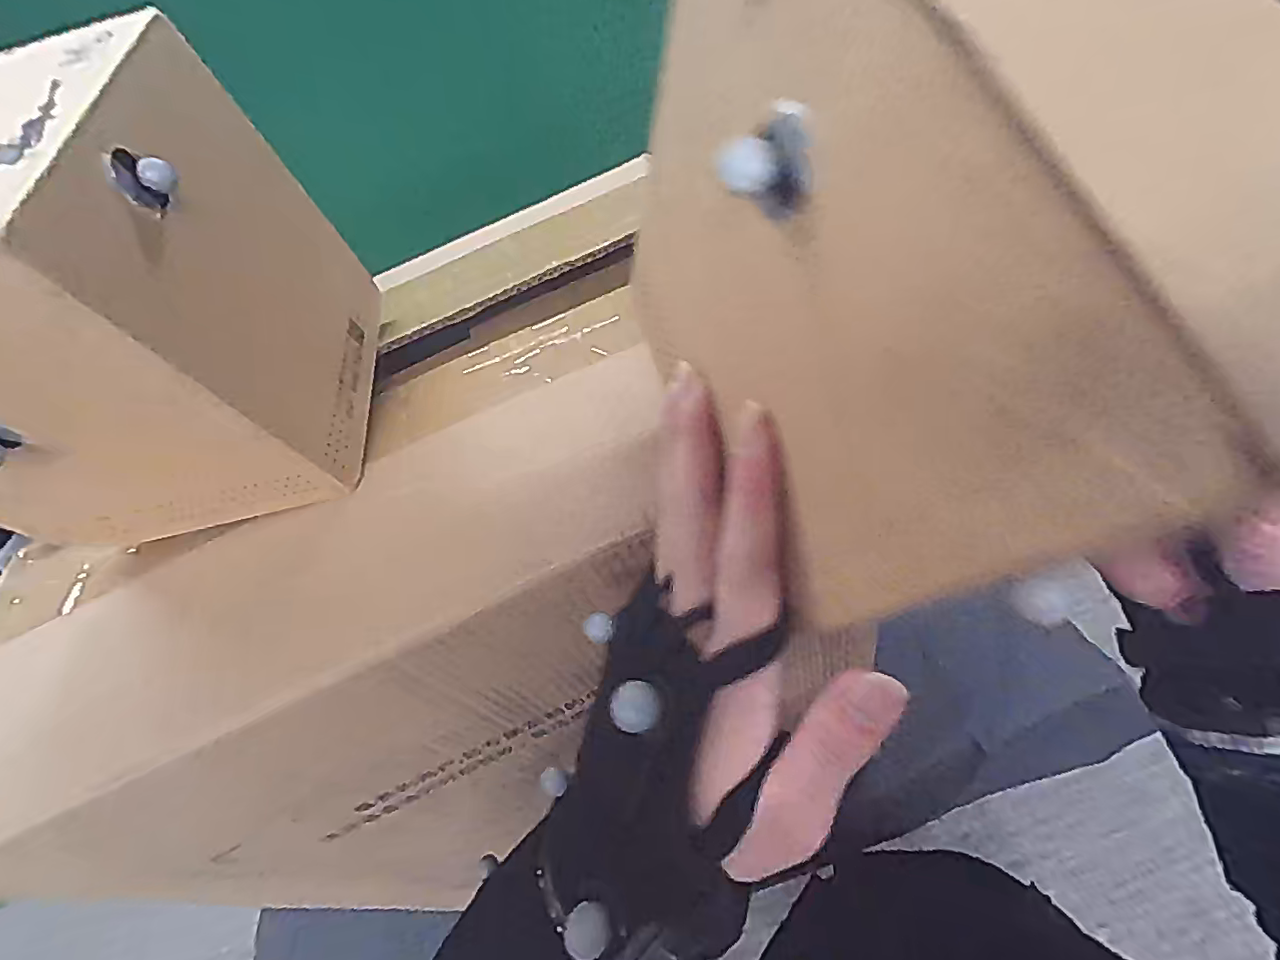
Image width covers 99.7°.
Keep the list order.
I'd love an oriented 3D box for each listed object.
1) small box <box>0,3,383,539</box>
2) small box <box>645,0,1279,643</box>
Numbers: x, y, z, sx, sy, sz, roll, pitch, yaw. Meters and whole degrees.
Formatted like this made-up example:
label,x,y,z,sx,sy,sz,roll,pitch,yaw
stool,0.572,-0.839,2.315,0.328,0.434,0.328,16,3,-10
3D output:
label,x,y,z,sx,sy,sz,roll,pitch,yaw
small box,-0.269,-0.084,0.278,0.179,0.176,0.168,-13,61,7
small box,0.108,-0.059,0.173,0.168,0.176,0.179,-13,72,-12
